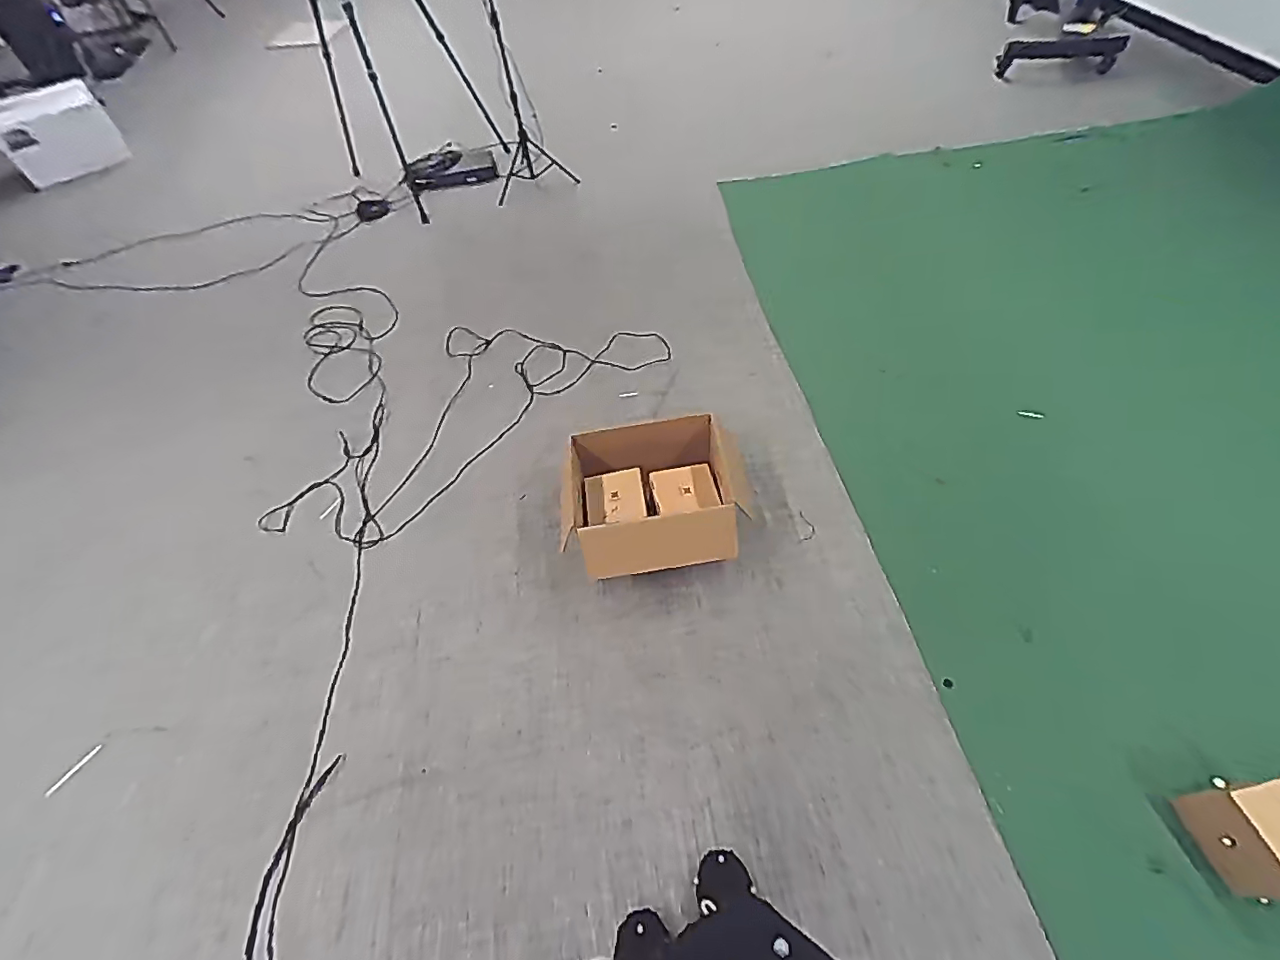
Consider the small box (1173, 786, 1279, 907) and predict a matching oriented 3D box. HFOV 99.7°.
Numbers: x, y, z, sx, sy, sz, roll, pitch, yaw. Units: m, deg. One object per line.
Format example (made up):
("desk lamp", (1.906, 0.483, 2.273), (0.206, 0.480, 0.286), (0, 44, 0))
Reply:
("small box", (1.236, 0.714, 1.060), (0.168, 0.176, 0.179), (-12, 54, -3))
